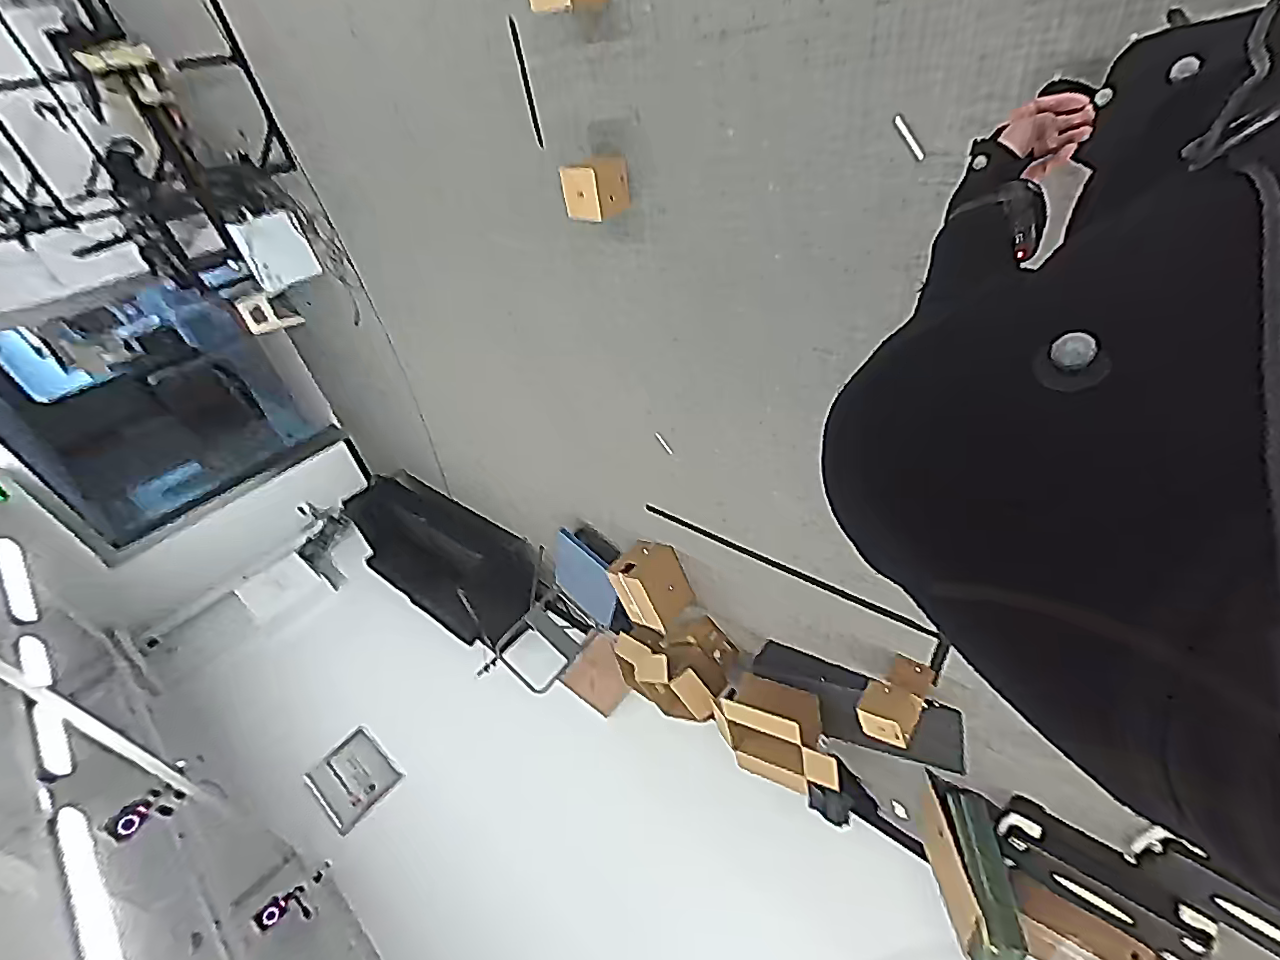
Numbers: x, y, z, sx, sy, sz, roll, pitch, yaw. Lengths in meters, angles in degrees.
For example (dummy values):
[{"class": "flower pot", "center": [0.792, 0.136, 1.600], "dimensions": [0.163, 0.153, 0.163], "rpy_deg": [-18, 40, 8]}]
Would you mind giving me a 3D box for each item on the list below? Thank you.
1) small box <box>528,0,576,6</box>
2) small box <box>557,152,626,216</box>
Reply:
[{"class": "small box", "center": [-0.222, -1.491, 1.559], "dimensions": [0.179, 0.176, 0.168], "rpy_deg": [26, 141, 32]}, {"class": "small box", "center": [-0.165, -1.066, 1.940], "dimensions": [0.179, 0.176, 0.168], "rpy_deg": [25, 141, 34]}]
